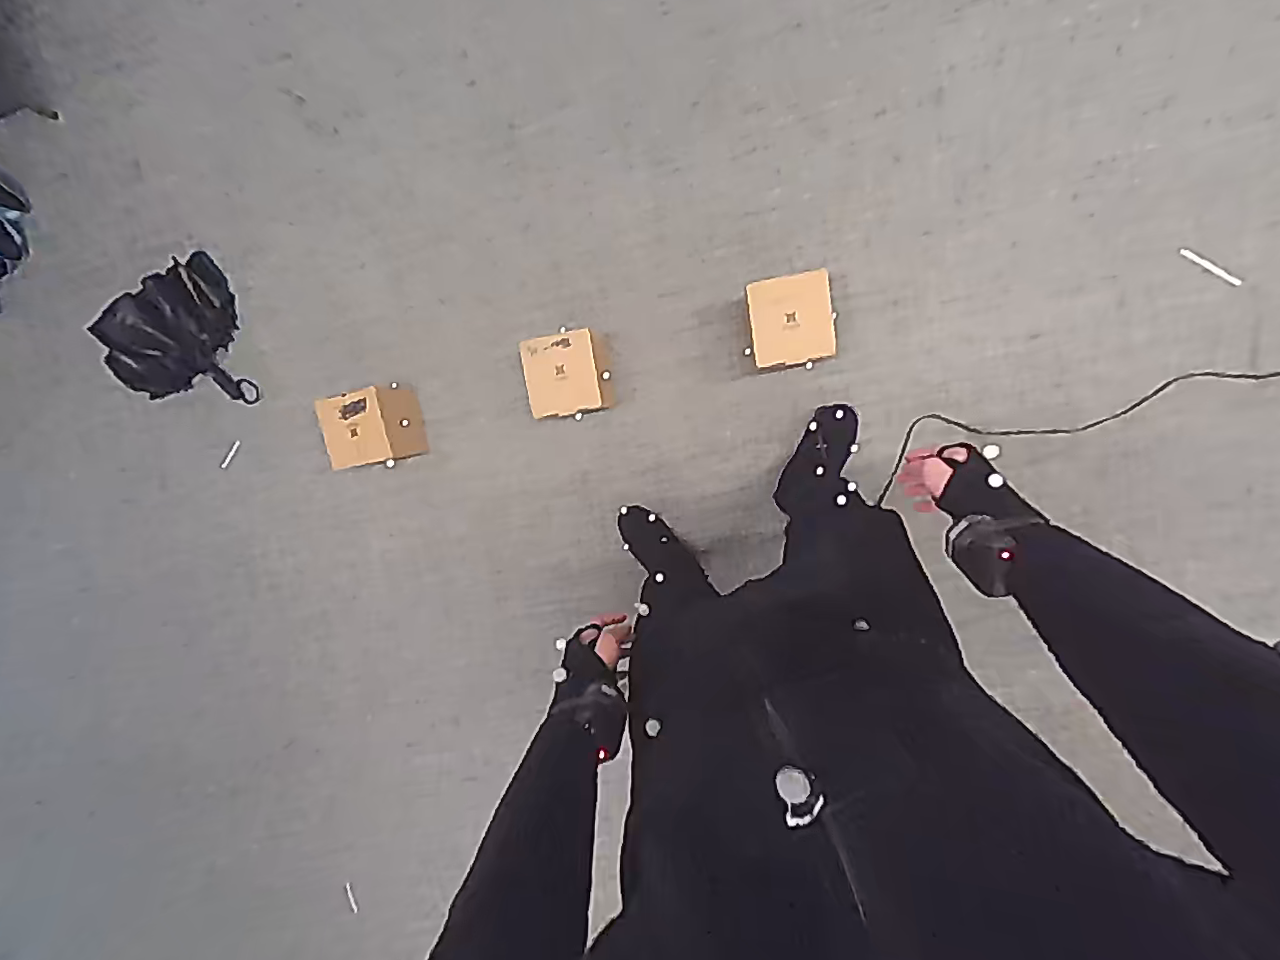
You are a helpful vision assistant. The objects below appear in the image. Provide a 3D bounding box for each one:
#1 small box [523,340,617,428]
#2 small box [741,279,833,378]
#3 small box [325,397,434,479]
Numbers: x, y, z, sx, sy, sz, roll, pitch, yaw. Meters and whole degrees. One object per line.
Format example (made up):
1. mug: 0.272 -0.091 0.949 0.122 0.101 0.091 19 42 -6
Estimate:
1. small box: -0.160 -0.228 1.298 0.168 0.176 0.179 -9 97 10
2. small box: 0.322 -0.327 1.207 0.168 0.176 0.179 -10 95 10
3. small box: -0.661 -0.112 1.392 0.168 0.176 0.179 -12 97 11
